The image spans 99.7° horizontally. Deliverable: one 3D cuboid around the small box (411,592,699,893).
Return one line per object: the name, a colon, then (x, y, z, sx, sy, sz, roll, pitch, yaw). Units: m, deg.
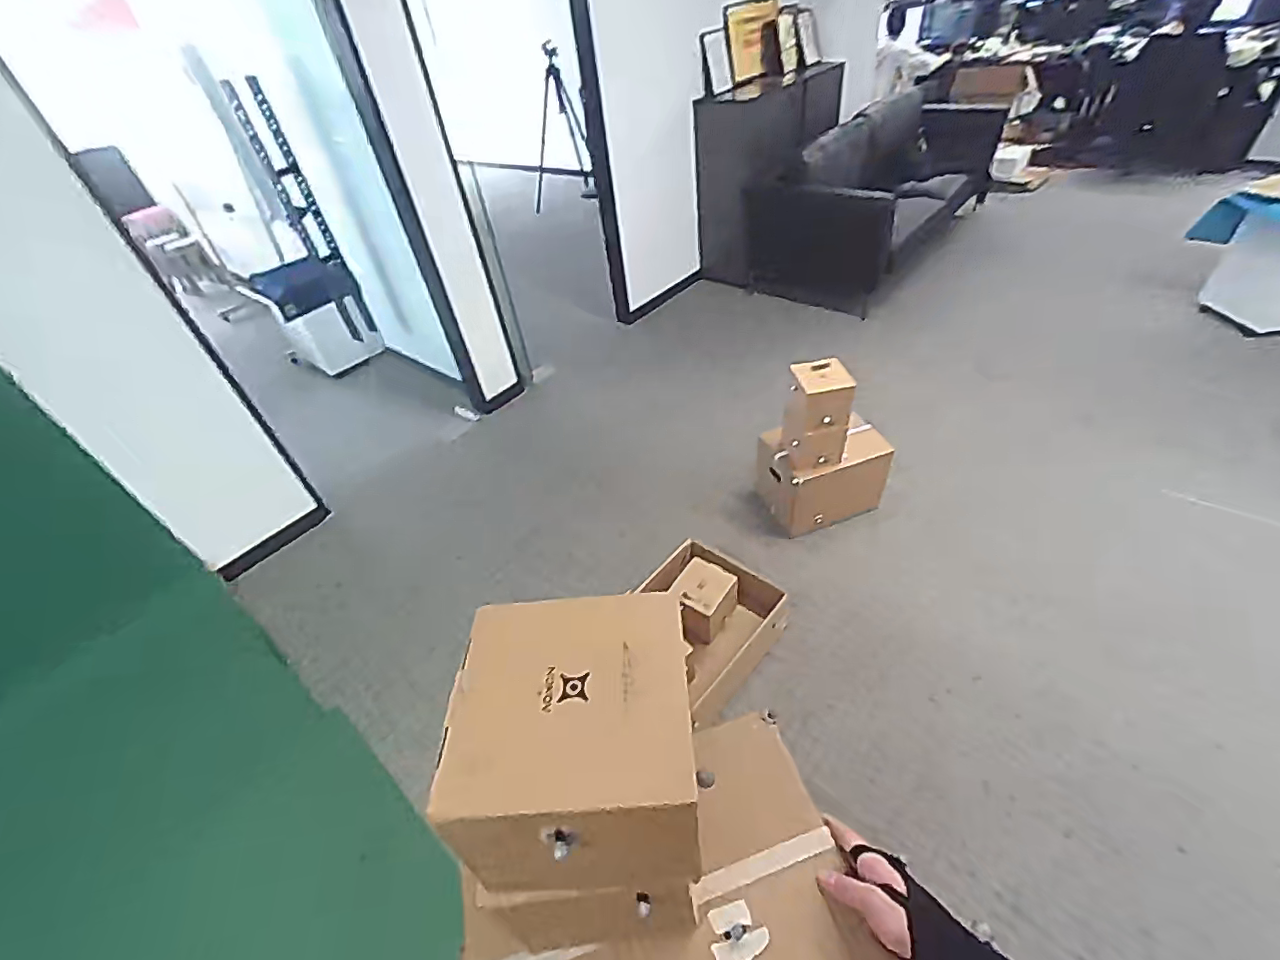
small box: (-0.048, 0.212, 0.437, 0.179, 0.176, 0.168, -4, 39, 3)

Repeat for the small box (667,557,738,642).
small box: (0.207, 0.395, 1.782, 0.168, 0.176, 0.179, 23, 51, 31)

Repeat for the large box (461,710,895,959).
large box: (0.033, 0.555, 0.651, 0.408, 0.320, 0.320, -15, 41, -10)

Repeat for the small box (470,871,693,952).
small box: (-0.048, 0.340, 0.540, 0.179, 0.176, 0.168, -8, 38, -1)

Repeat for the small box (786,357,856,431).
small box: (0.605, -0.289, 1.830, 0.168, 0.176, 0.179, -10, 44, -2)
